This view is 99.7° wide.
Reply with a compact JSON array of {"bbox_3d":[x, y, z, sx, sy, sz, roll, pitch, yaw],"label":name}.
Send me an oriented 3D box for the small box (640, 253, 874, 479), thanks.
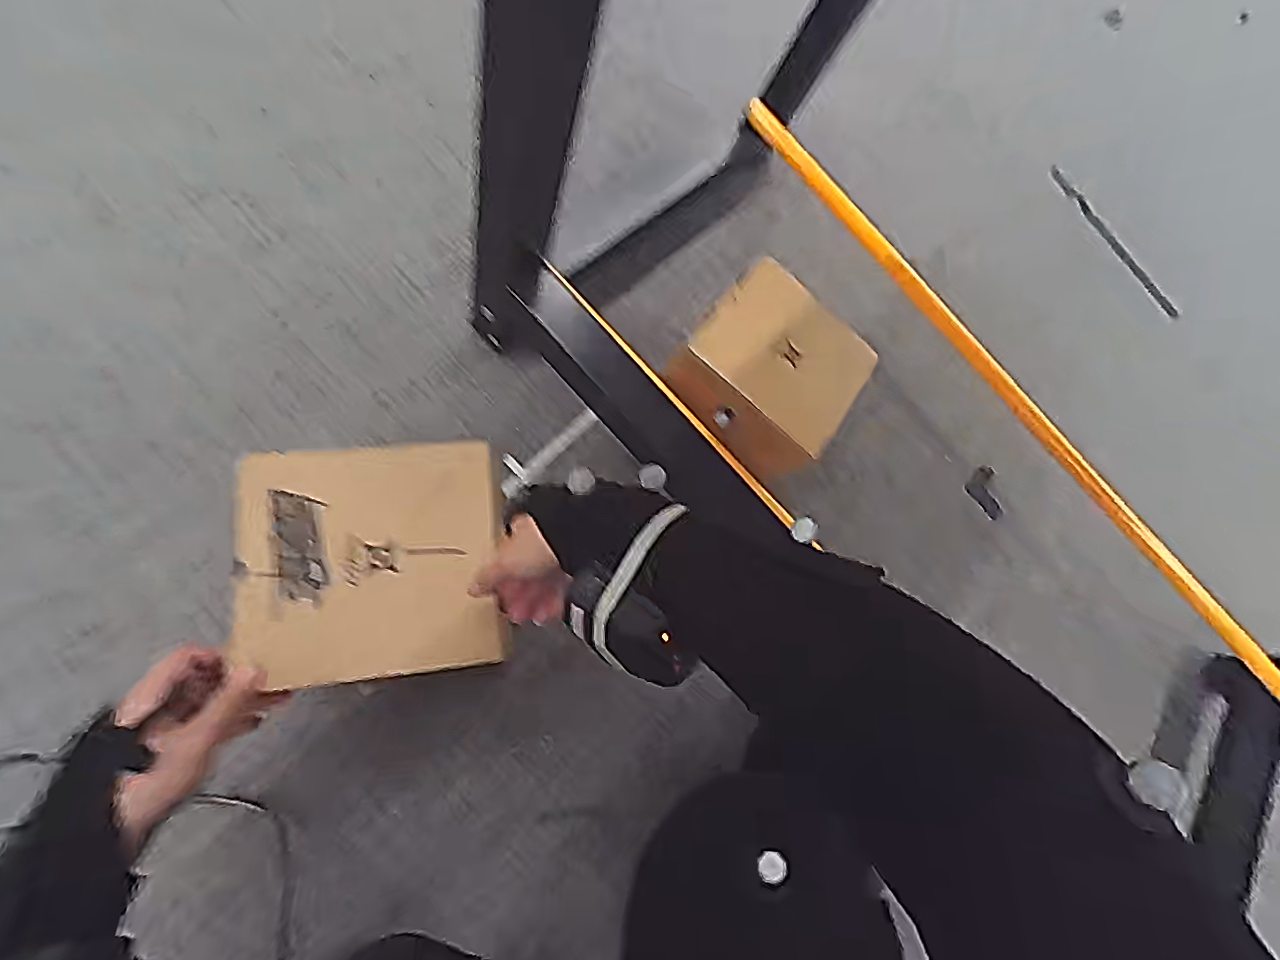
[{"bbox_3d":[0.129,-0.119,0.644,0.179,0.176,0.168,40,67,-4],"label":"small box"}]
